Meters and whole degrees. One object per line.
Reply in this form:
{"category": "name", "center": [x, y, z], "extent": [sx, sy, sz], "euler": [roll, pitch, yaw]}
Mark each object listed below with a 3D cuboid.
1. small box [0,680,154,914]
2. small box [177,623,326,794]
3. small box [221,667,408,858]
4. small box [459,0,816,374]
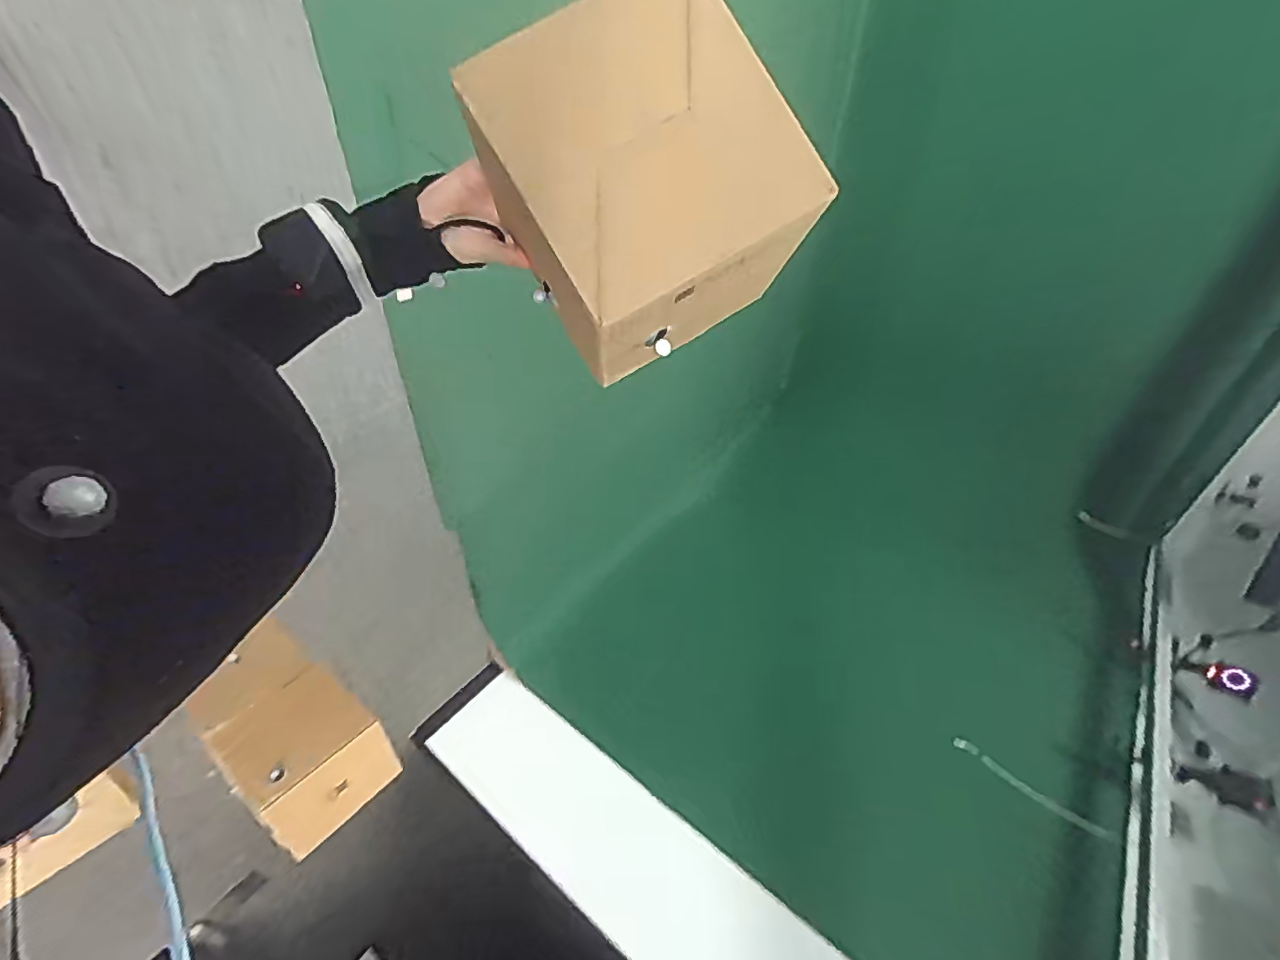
{"category": "small box", "center": [-0.799, 0.406, 0.706], "extent": [0.179, 0.176, 0.168], "euler": [-33, 138, -42]}
{"category": "small box", "center": [-0.647, 0.384, 0.934], "extent": [0.168, 0.176, 0.179], "euler": [-33, 138, -44]}
{"category": "small box", "center": [-0.510, 0.438, 0.862], "extent": [0.179, 0.176, 0.168], "euler": [-37, 141, -40]}
{"category": "small box", "center": [-0.001, -0.206, 0.383], "extent": [0.168, 0.179, 0.176], "euler": [-32, 180, -4]}
